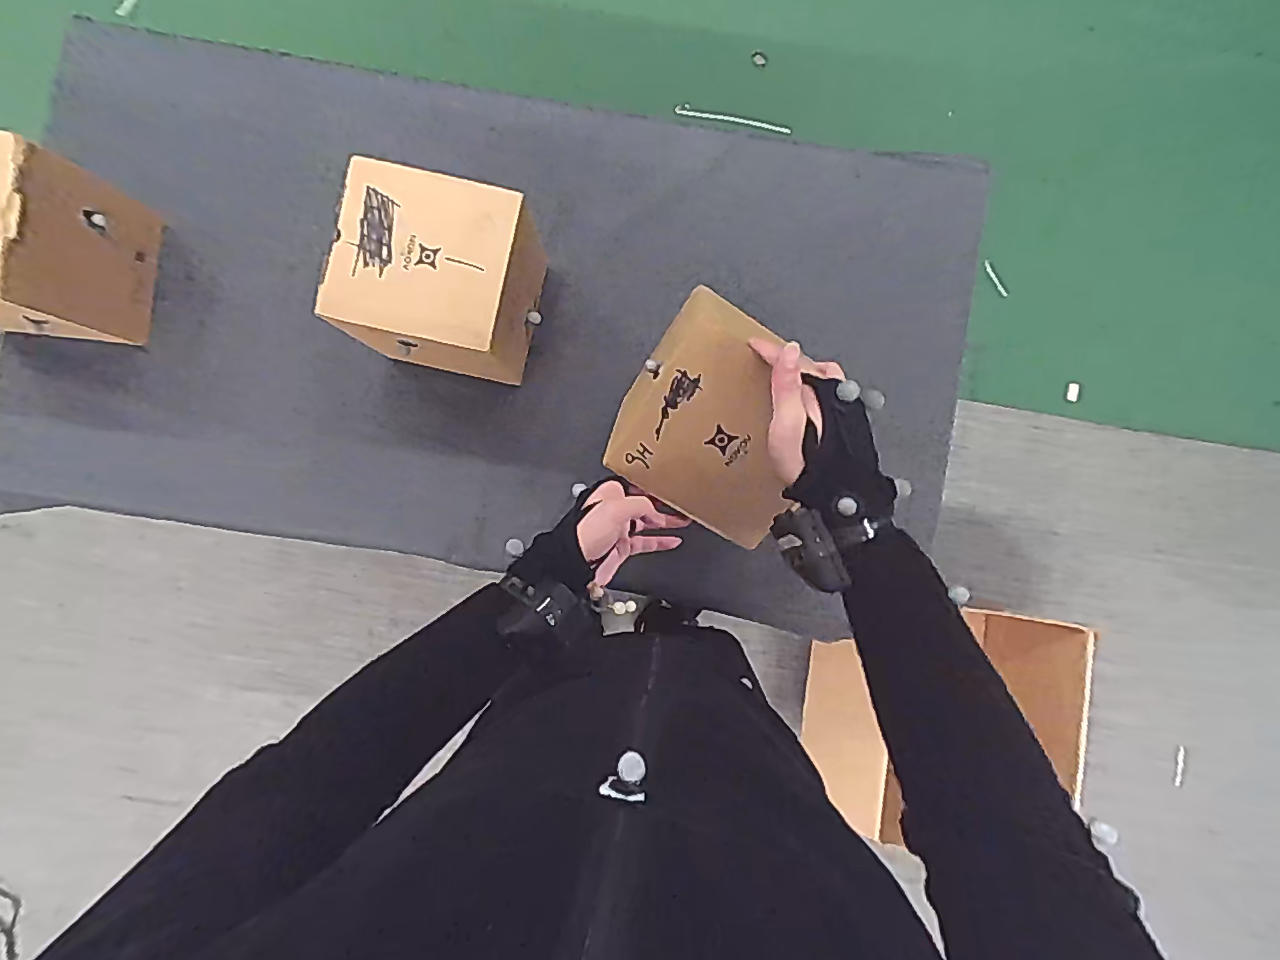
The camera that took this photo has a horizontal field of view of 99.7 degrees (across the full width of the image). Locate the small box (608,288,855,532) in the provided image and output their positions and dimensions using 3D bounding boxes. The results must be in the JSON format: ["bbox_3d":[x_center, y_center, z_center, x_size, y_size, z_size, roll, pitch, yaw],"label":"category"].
[{"bbox_3d":[0.090,-0.083,0.576,0.179,0.176,0.168,28,118,-9],"label":"small box"}]

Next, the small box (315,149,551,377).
[{"bbox_3d":[-0.216,-0.226,0.611,0.179,0.176,0.168,16,90,0],"label":"small box"}]

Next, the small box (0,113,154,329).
[{"bbox_3d":[-0.689,-0.273,0.588,0.179,0.176,0.168,6,88,-1],"label":"small box"}]
